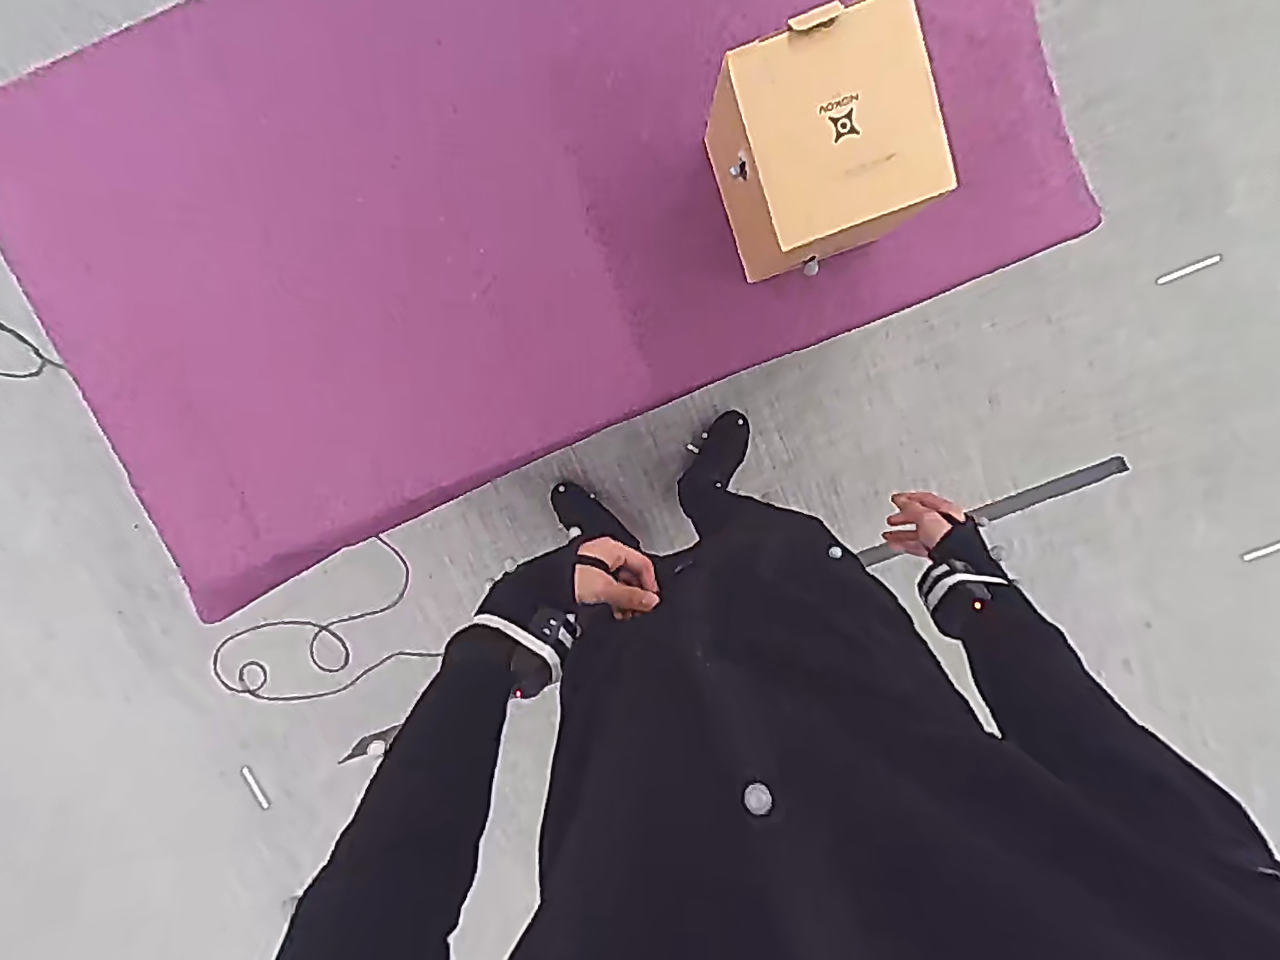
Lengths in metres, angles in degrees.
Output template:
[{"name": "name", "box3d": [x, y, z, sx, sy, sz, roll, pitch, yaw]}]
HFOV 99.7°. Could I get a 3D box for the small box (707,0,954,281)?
[{"name": "small box", "box3d": [0.174, -0.326, 0.546, 0.168, 0.176, 0.179, -18, 99, 4]}]
